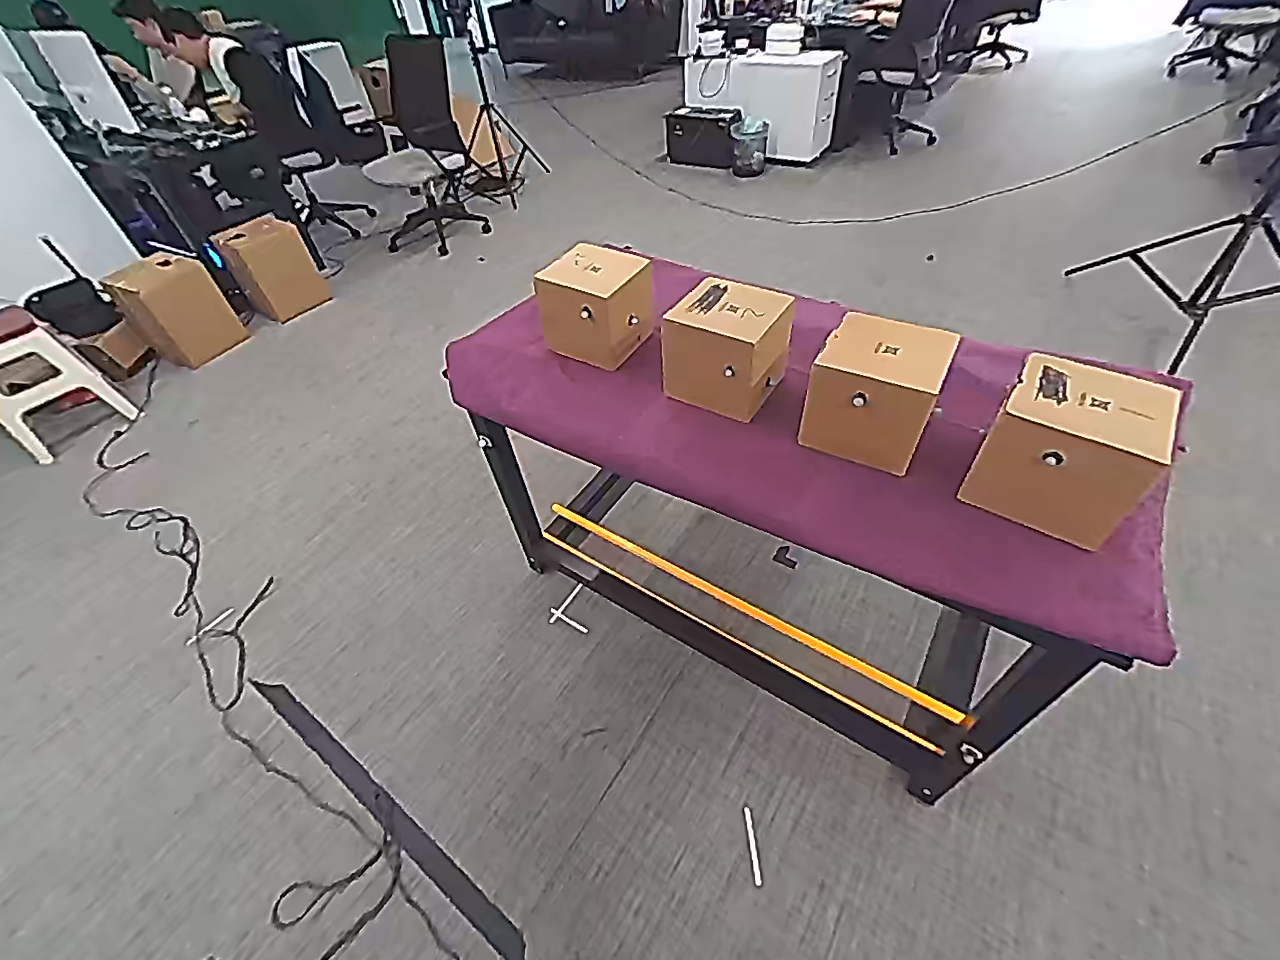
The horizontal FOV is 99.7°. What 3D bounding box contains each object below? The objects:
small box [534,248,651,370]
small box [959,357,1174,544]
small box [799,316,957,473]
[{"bbox_3d":[-0.089,-0.351,1.121,0.179,0.176,0.168,23,52,22],"label":"small box"},{"bbox_3d":[0.582,-0.040,0.756,0.179,0.176,0.168,27,54,27],"label":"small box"},{"bbox_3d":[0.377,-0.136,0.875,0.179,0.176,0.168,21,52,25],"label":"small box"}]
